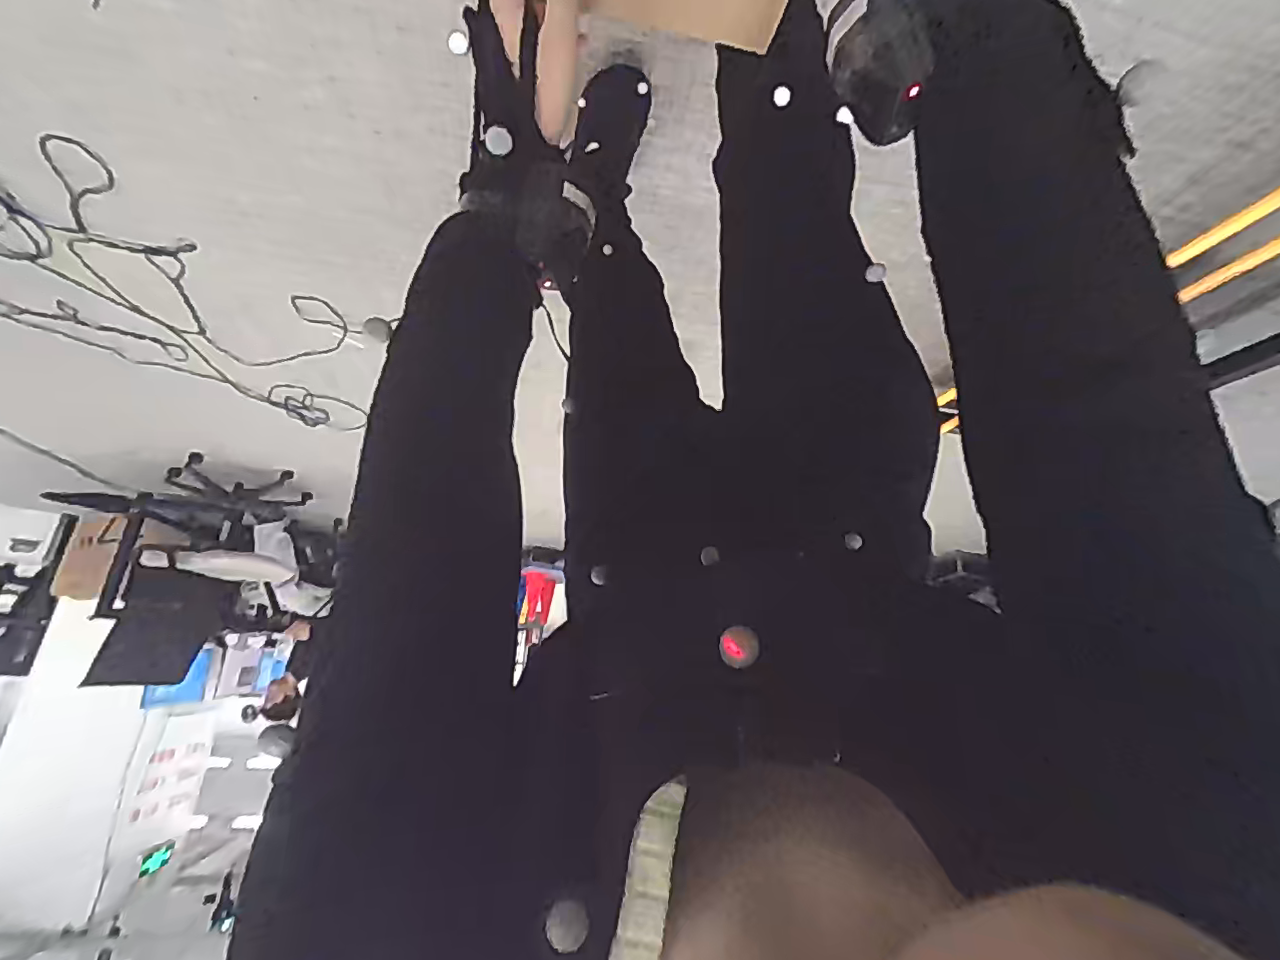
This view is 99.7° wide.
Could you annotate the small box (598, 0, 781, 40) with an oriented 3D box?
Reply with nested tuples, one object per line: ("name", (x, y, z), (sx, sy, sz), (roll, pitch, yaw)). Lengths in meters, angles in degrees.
("small box", (0.024, -0.413, 0.306), (0.168, 0.176, 0.179), (4, 159, -11))
